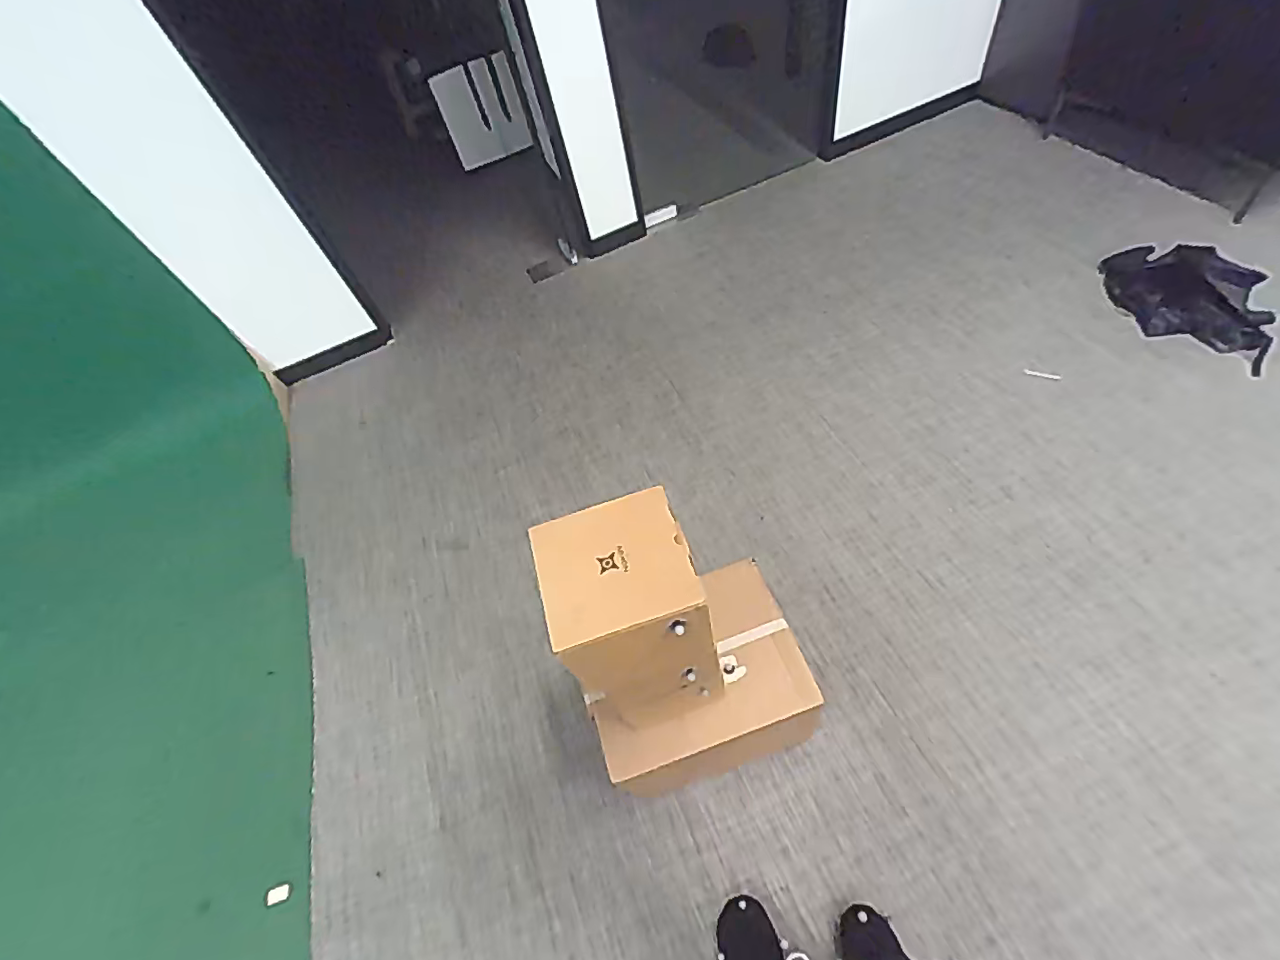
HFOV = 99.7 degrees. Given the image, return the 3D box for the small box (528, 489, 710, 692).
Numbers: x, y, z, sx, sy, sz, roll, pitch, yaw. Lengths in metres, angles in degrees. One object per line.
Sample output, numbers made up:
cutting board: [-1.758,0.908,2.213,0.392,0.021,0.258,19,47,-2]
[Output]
small box: [-0.022,0.144,0.679,0.179,0.176,0.168,-18,53,-4]

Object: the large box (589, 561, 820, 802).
large box: [0.114,0.435,1.153,0.408,0.320,0.320,-19,54,-3]

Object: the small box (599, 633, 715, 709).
small box: [0.007,0.227,0.817,0.168,0.176,0.179,-19,52,-4]
